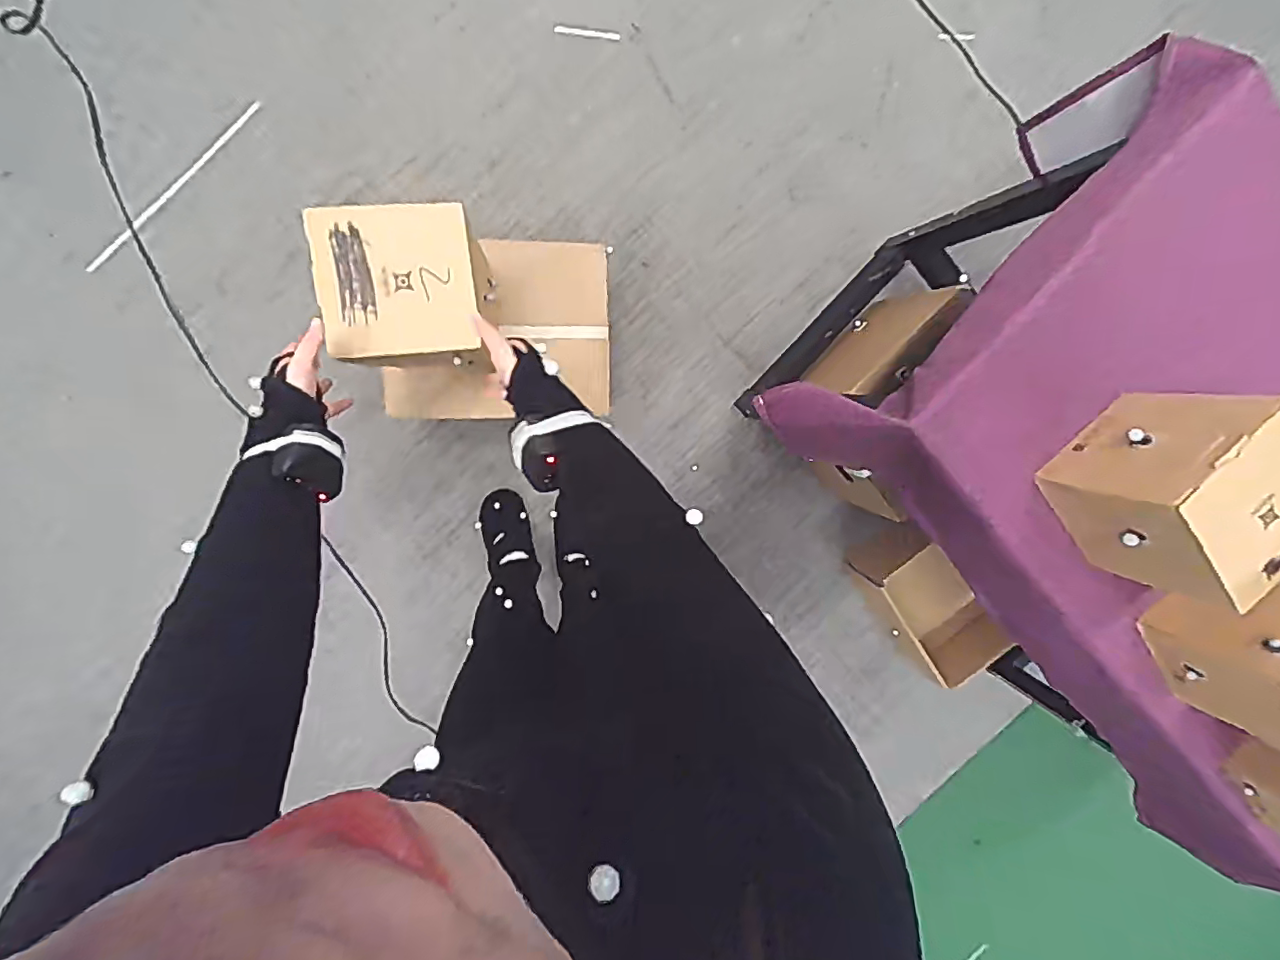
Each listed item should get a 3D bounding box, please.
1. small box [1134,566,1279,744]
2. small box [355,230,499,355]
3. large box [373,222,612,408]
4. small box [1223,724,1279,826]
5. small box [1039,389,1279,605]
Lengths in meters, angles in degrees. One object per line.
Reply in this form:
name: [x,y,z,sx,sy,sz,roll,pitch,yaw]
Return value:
small box: [0.836,0.215,0.726,0.179,0.176,0.168,-38,105,0]
small box: [-0.320,-0.287,0.854,0.179,0.176,0.168,-5,101,-8]
large box: [-0.278,-0.319,1.108,0.408,0.320,0.320,-2,103,-10]
small box: [1.040,0.449,0.807,0.179,0.176,0.168,-43,105,0]
small box: [0.636,0.009,0.646,0.168,0.176,0.179,-42,105,1]
